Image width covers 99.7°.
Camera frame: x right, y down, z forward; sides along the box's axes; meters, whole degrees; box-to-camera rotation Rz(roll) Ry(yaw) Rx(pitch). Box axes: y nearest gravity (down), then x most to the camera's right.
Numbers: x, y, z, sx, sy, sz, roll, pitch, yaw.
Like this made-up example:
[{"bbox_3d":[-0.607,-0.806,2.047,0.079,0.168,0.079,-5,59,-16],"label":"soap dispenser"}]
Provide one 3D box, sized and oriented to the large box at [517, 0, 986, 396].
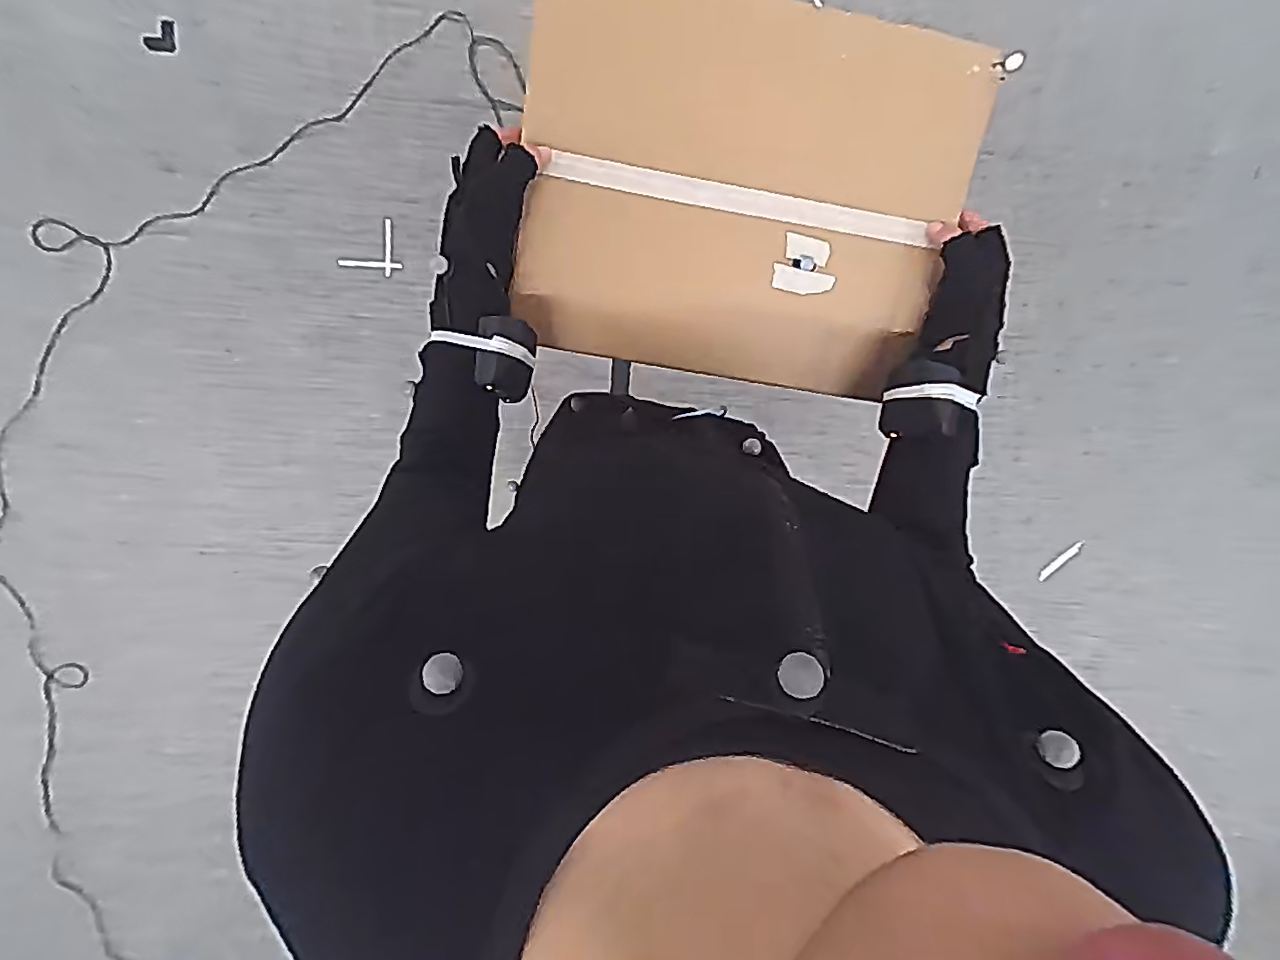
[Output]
[{"bbox_3d":[0.085,-0.297,0.647,0.408,0.320,0.320,8,106,-6],"label":"large box"}]
